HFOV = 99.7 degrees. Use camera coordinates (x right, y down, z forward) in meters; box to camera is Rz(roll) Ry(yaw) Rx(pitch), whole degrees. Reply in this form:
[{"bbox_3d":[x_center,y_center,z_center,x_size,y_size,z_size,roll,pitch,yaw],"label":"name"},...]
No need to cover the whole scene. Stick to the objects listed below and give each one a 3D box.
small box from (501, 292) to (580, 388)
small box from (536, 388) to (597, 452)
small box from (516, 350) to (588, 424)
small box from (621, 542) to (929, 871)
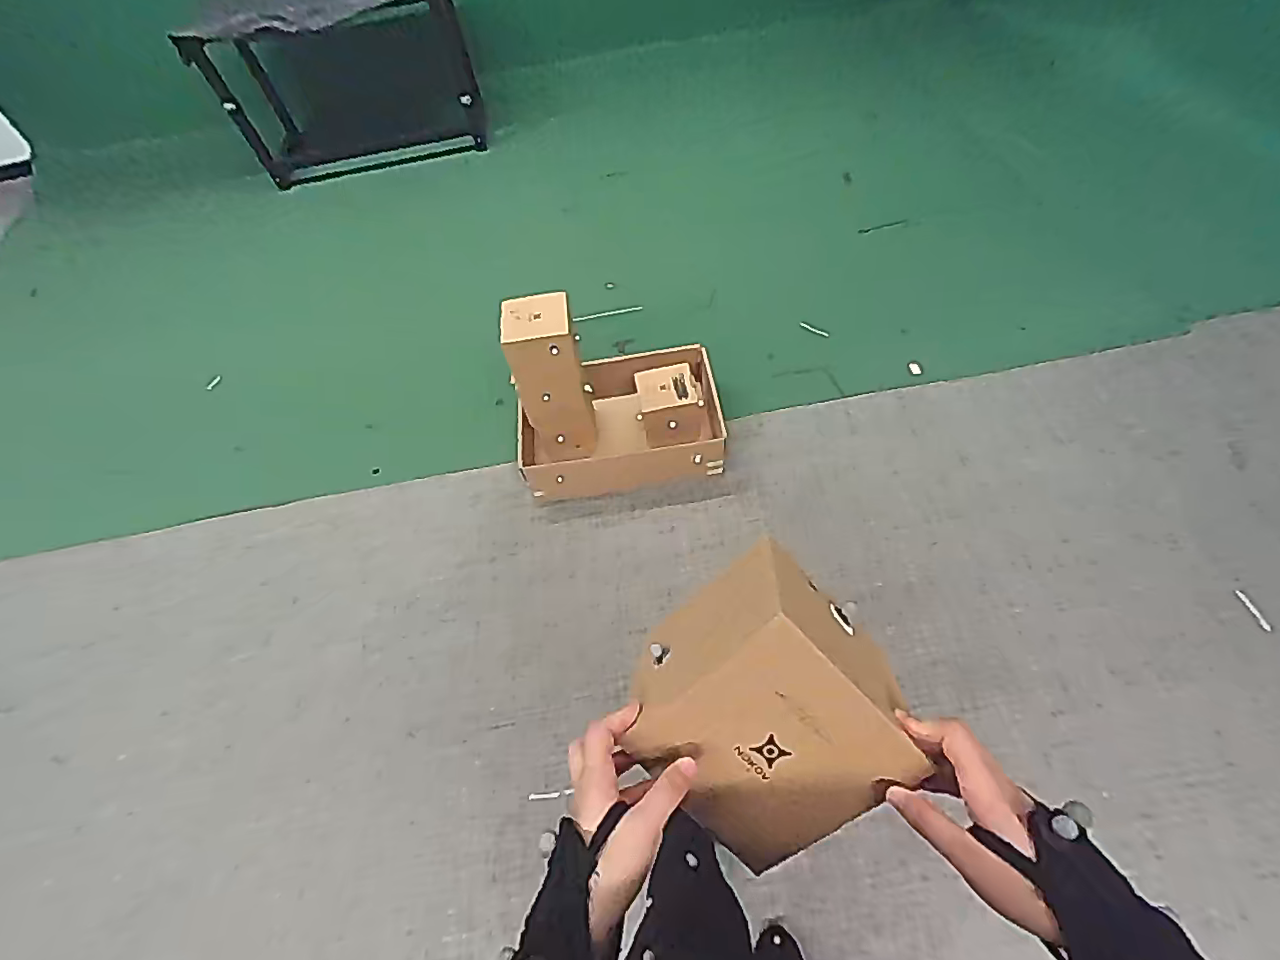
[{"bbox_3d":[-0.259,-0.369,1.442,0.179,0.176,0.168,-9,57,1],"label":"small box"},{"bbox_3d":[-0.234,-0.203,1.725,0.168,0.176,0.179,-9,58,1],"label":"small box"},{"bbox_3d":[-0.254,-0.281,1.582,0.179,0.176,0.168,-8,58,0],"label":"small box"},{"bbox_3d":[0.112,0.188,0.491,0.168,0.176,0.179,45,106,-3],"label":"small box"}]
